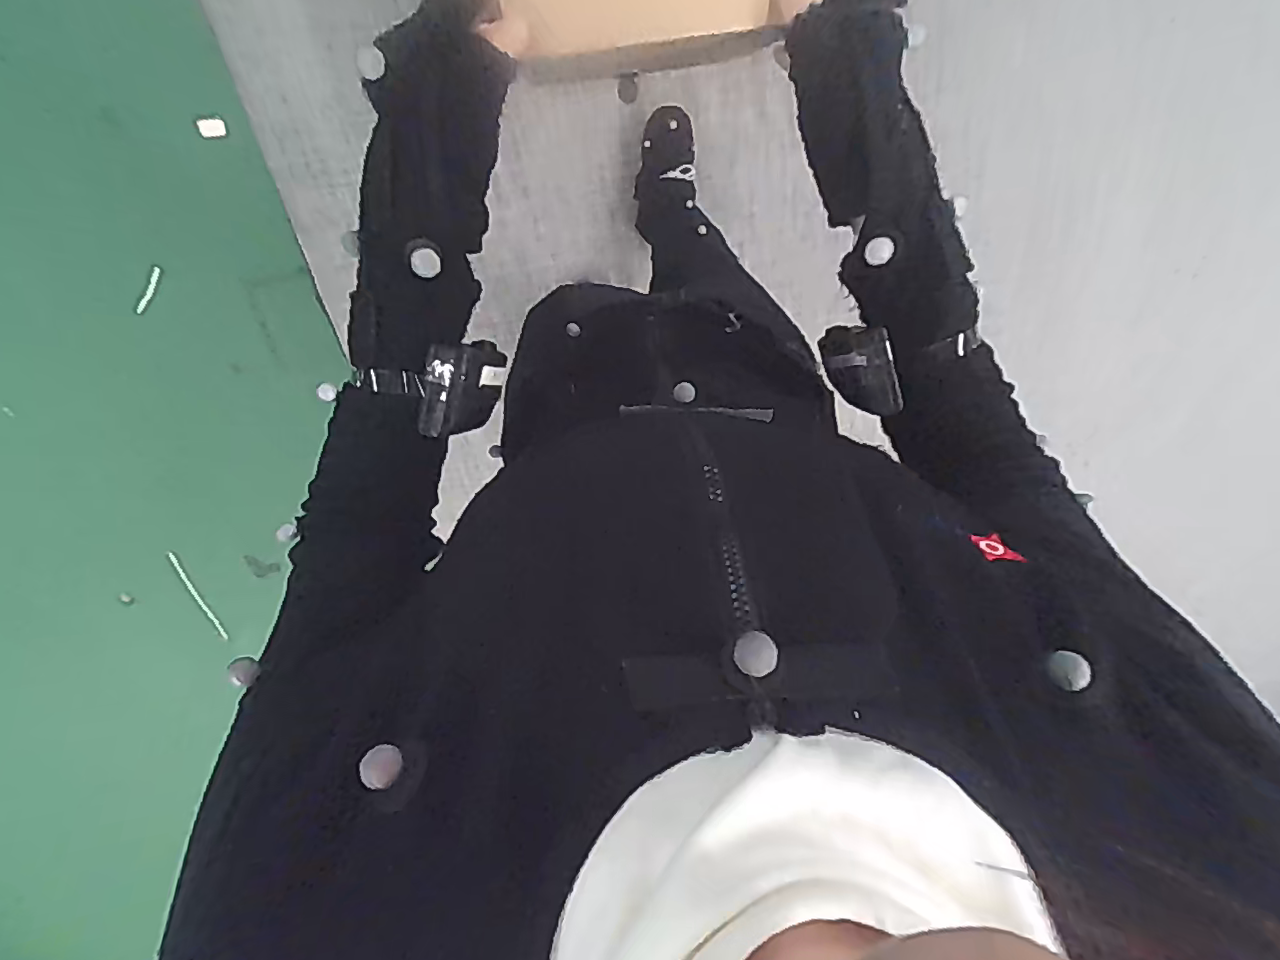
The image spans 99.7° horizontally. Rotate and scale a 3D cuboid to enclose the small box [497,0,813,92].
[{"bbox_3d":[-0.005,-0.345,0.310,0.168,0.176,0.179,-8,122,0],"label":"small box"}]
